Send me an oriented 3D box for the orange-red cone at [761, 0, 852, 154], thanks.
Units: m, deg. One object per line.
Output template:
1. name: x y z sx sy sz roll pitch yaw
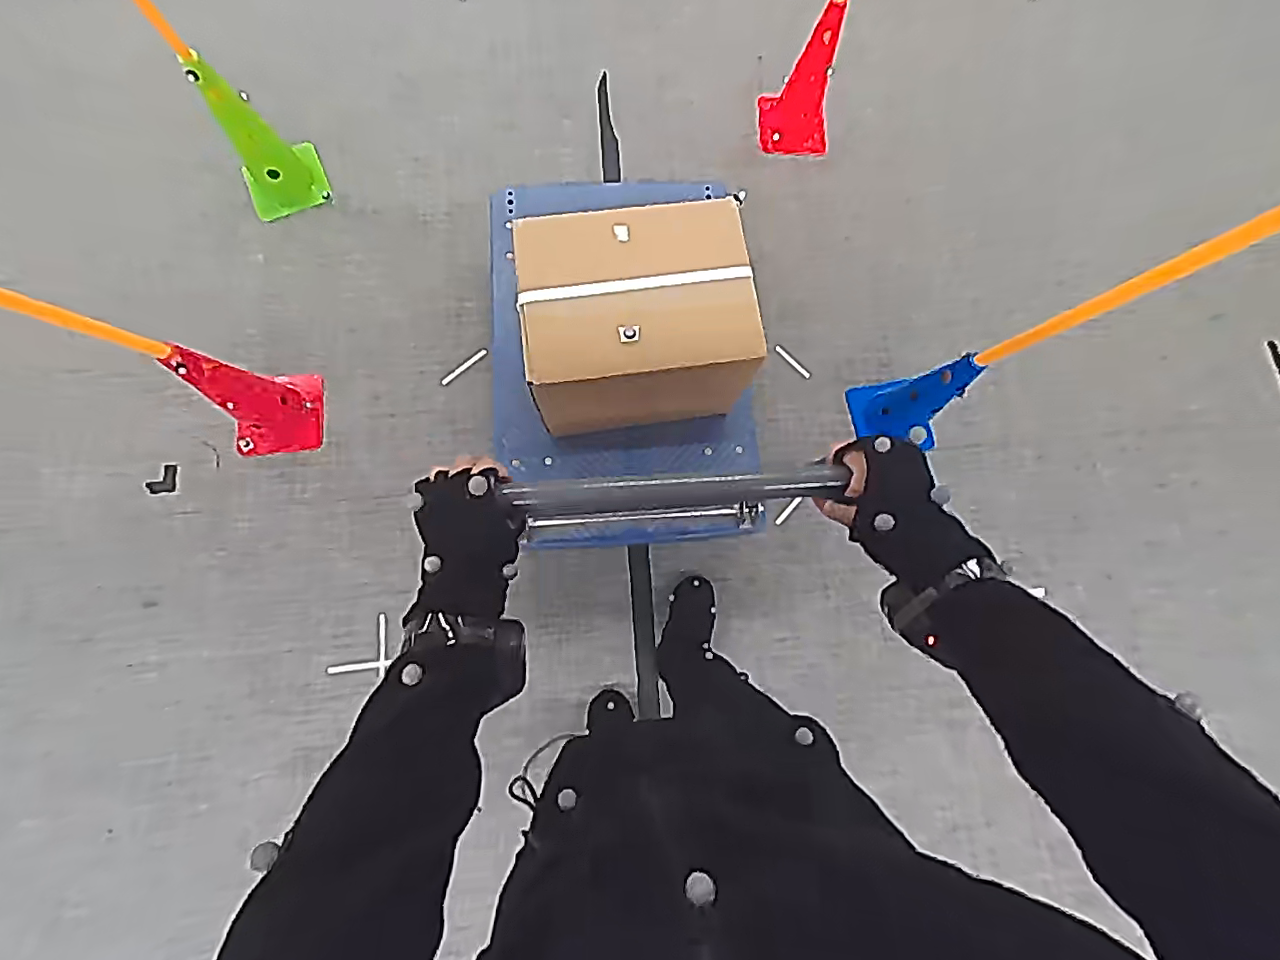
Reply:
1. orange-red cone: 0.466 -1.081 1.421 0.199 0.360 0.198 2 79 -3

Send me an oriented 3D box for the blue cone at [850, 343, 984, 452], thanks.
1. blue cone: 0.667 -0.208 1.260 0.193 0.380 0.192 -8 77 -5
